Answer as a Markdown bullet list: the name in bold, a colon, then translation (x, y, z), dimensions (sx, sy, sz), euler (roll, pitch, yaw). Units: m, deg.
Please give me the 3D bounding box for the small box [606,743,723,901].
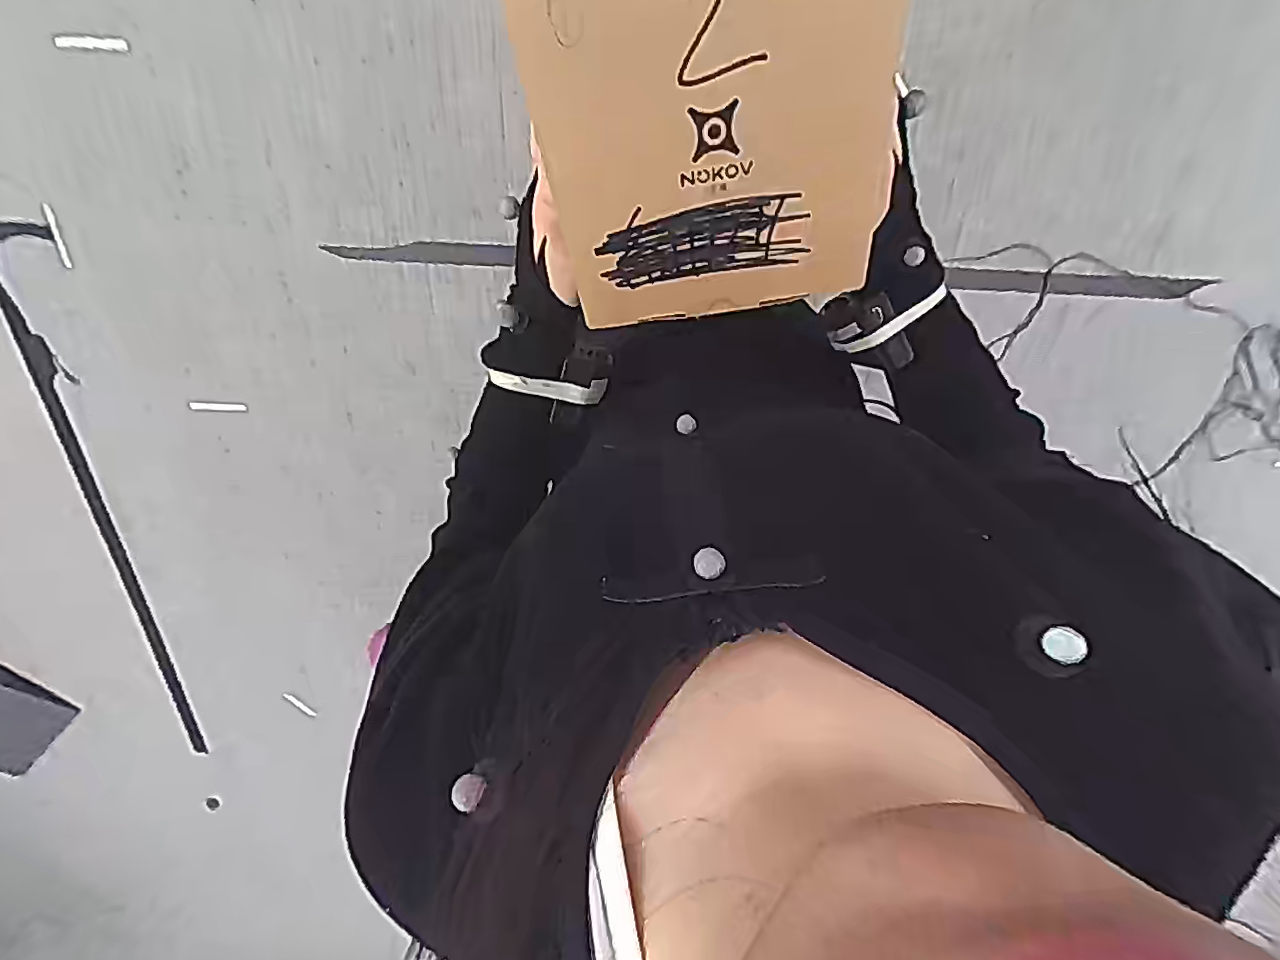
- **small box**: translation (0.037, 0.579, 0.928), dimensions (0.179, 0.176, 0.168), euler (4, 113, -1)
